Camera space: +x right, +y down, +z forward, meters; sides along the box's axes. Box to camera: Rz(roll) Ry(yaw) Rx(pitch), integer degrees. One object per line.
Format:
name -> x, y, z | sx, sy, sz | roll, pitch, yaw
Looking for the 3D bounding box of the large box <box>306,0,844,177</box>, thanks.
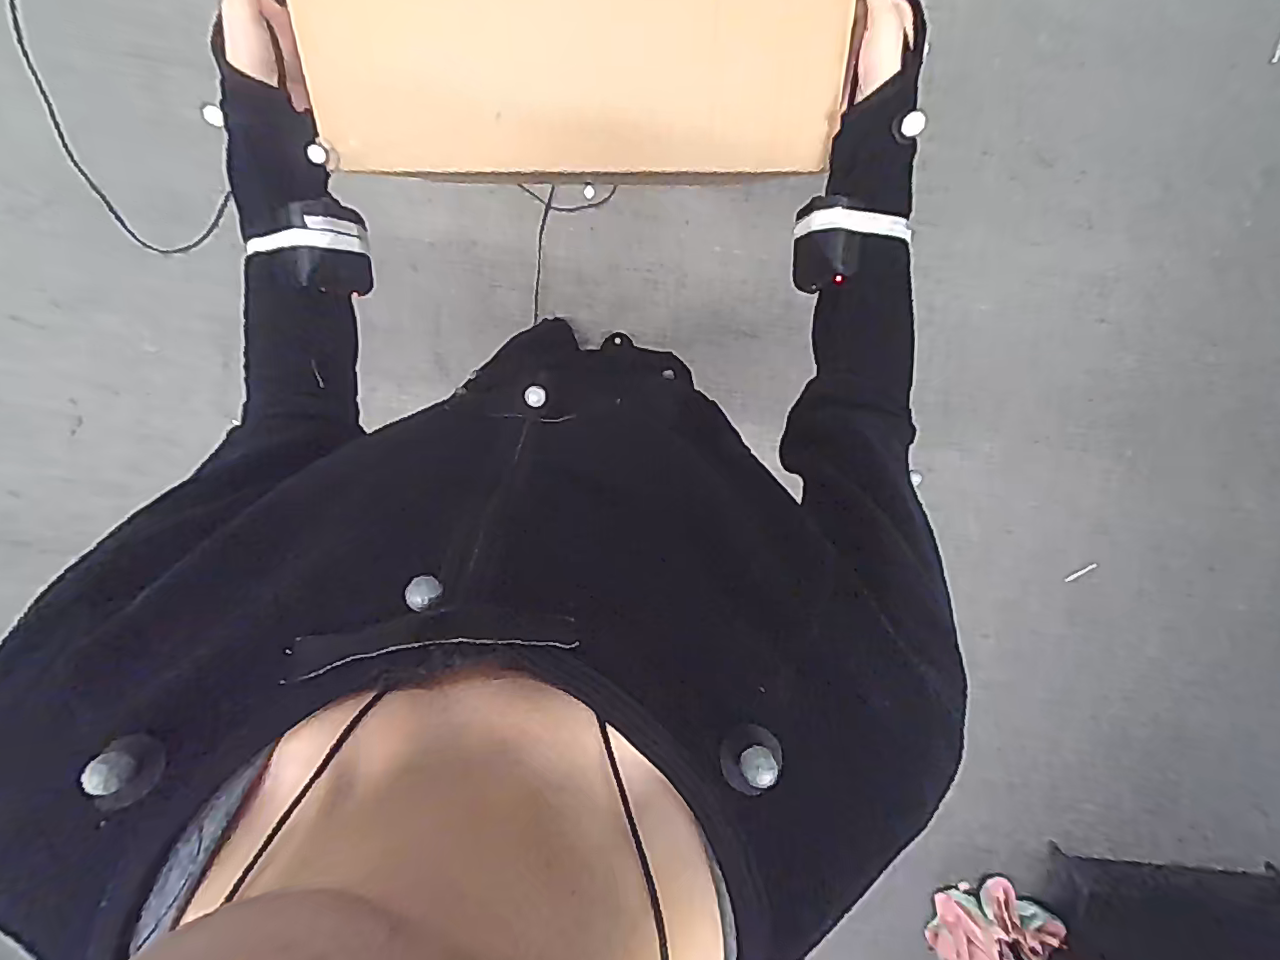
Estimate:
large box -> -0.051, -0.467, 0.507 | 0.408, 0.320, 0.320 | -2, 117, -3
